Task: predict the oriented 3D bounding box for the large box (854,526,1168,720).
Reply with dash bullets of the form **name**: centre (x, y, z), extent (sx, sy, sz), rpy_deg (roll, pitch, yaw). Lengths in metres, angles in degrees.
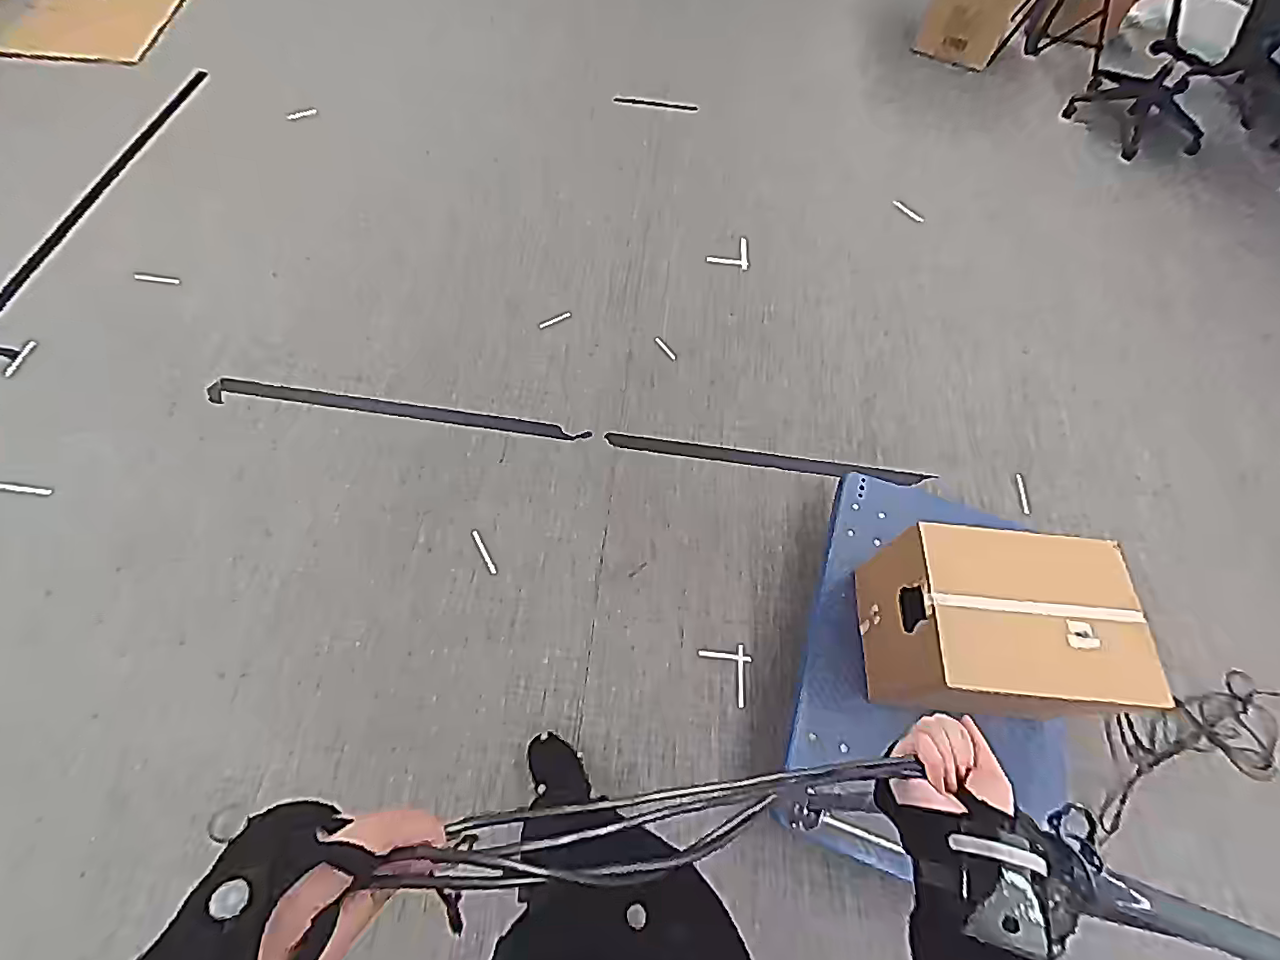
- **large box**: centre (0.718, 0.311, 1.129), extent (0.408, 0.320, 0.320), rpy_deg (6, 63, -2)
